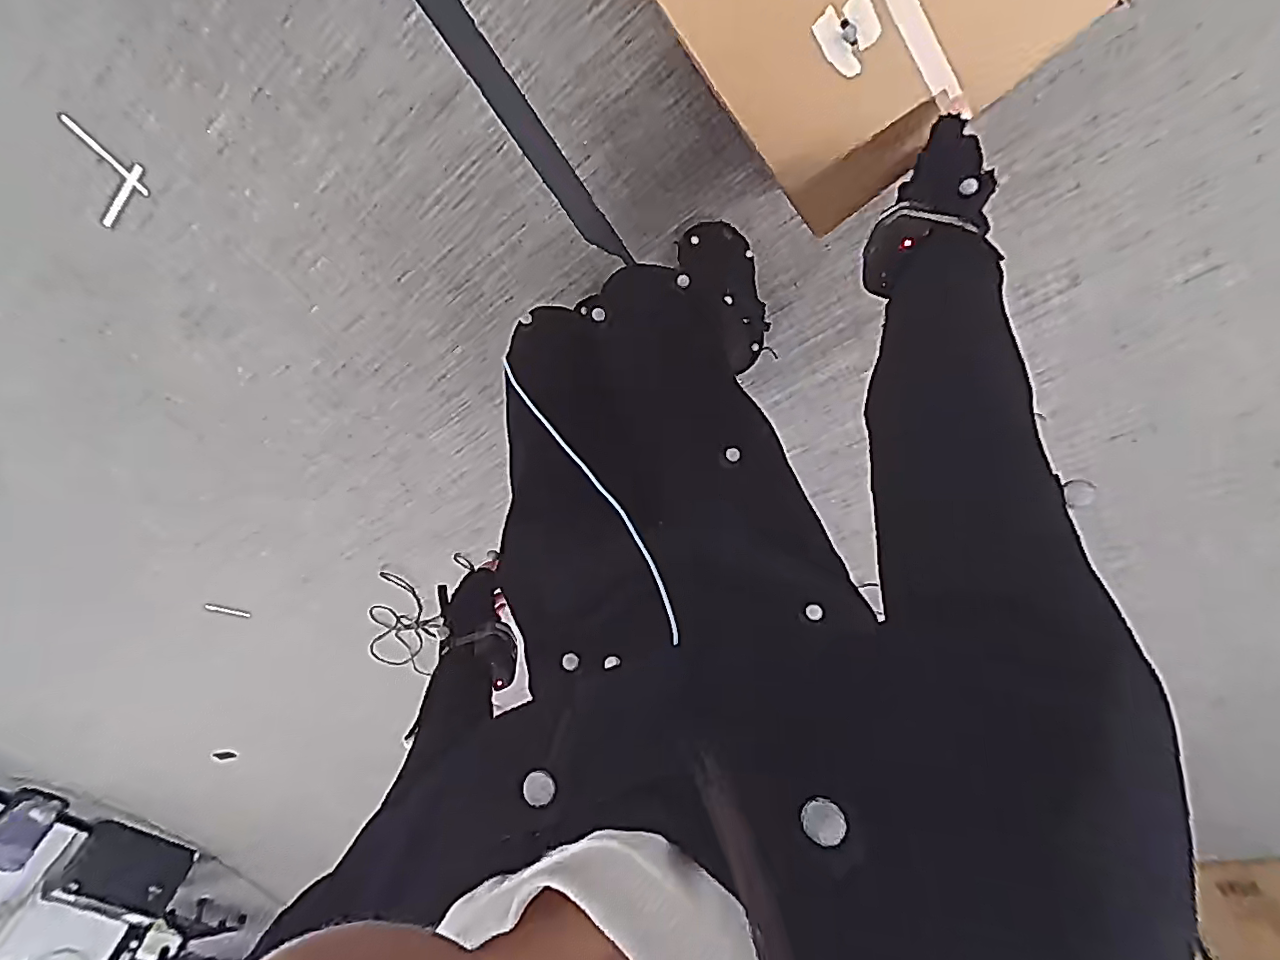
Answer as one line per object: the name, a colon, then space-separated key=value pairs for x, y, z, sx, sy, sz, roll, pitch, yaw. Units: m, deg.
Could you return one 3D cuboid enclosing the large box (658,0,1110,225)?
large box: x=0.192 y=-0.565 z=0.566 sx=0.320 sy=0.320 sz=0.408 roll=-34 pitch=118 yaw=28
